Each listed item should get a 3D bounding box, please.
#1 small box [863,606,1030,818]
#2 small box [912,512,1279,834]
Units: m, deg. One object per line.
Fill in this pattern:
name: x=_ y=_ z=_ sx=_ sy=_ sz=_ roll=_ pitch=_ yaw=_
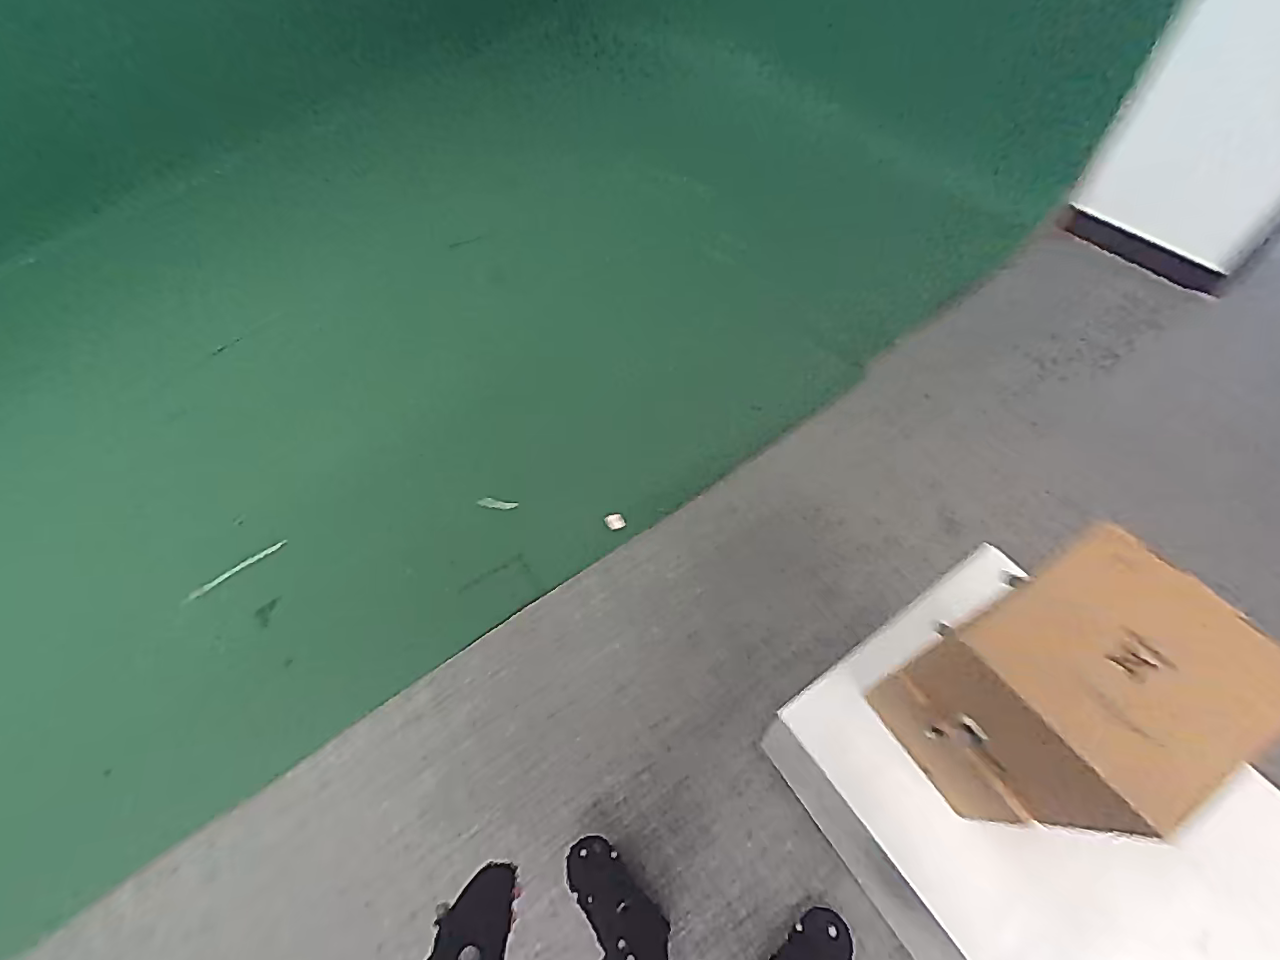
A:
small box: x=0.390 y=0.253 z=0.621 sx=0.179 sy=0.176 sz=0.168 roll=-30 pitch=60 yaw=-9
small box: x=0.373 y=0.164 z=0.466 sx=0.179 sy=0.176 sz=0.168 roll=-33 pitch=60 yaw=-8
